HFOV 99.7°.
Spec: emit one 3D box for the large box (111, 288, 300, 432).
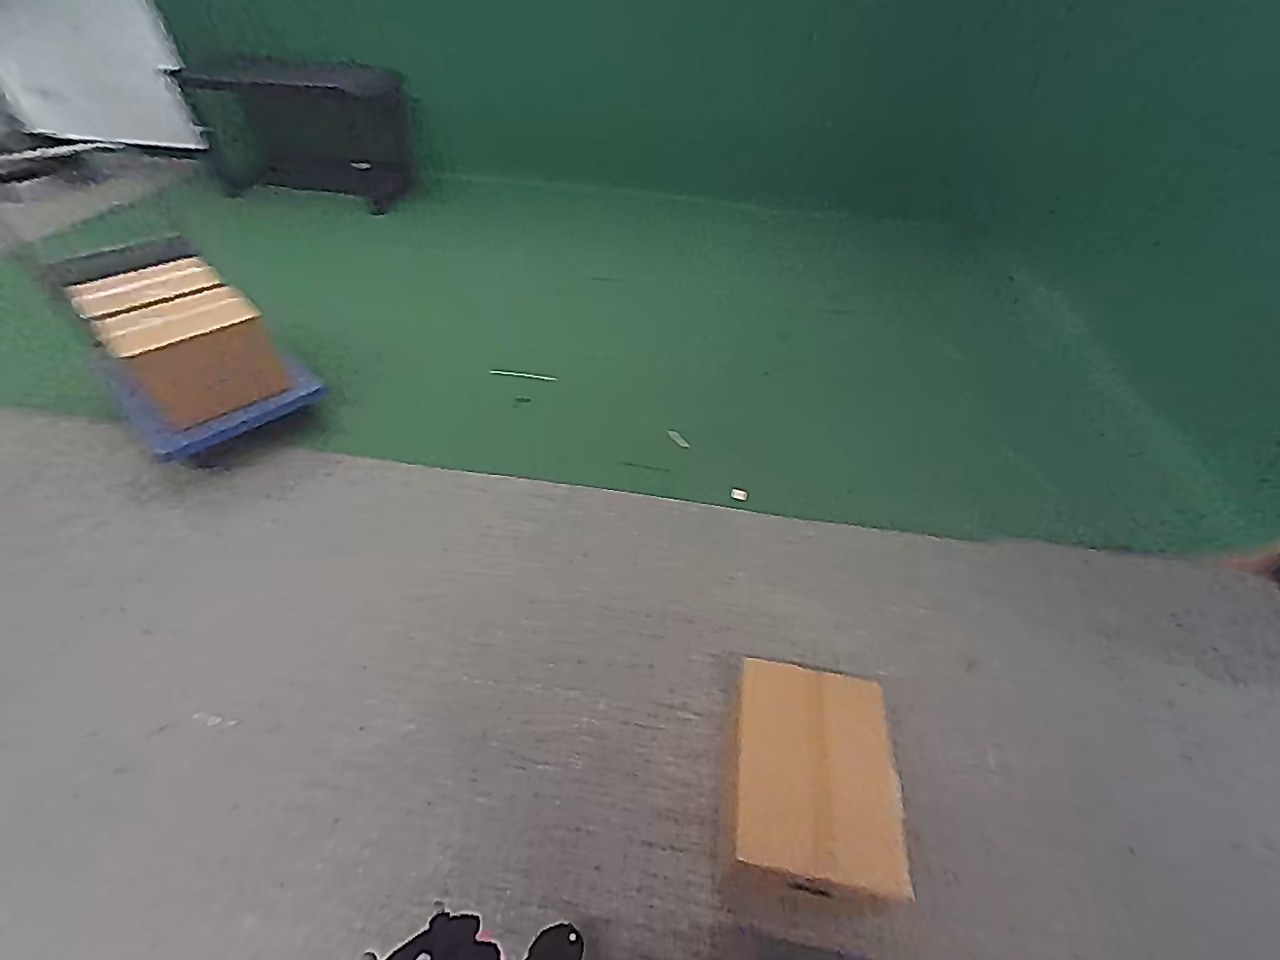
[{"bbox_3d":[-1.566,-0.446,1.979,0.408,0.320,0.320,-35,56,-30],"label":"large box"}]
